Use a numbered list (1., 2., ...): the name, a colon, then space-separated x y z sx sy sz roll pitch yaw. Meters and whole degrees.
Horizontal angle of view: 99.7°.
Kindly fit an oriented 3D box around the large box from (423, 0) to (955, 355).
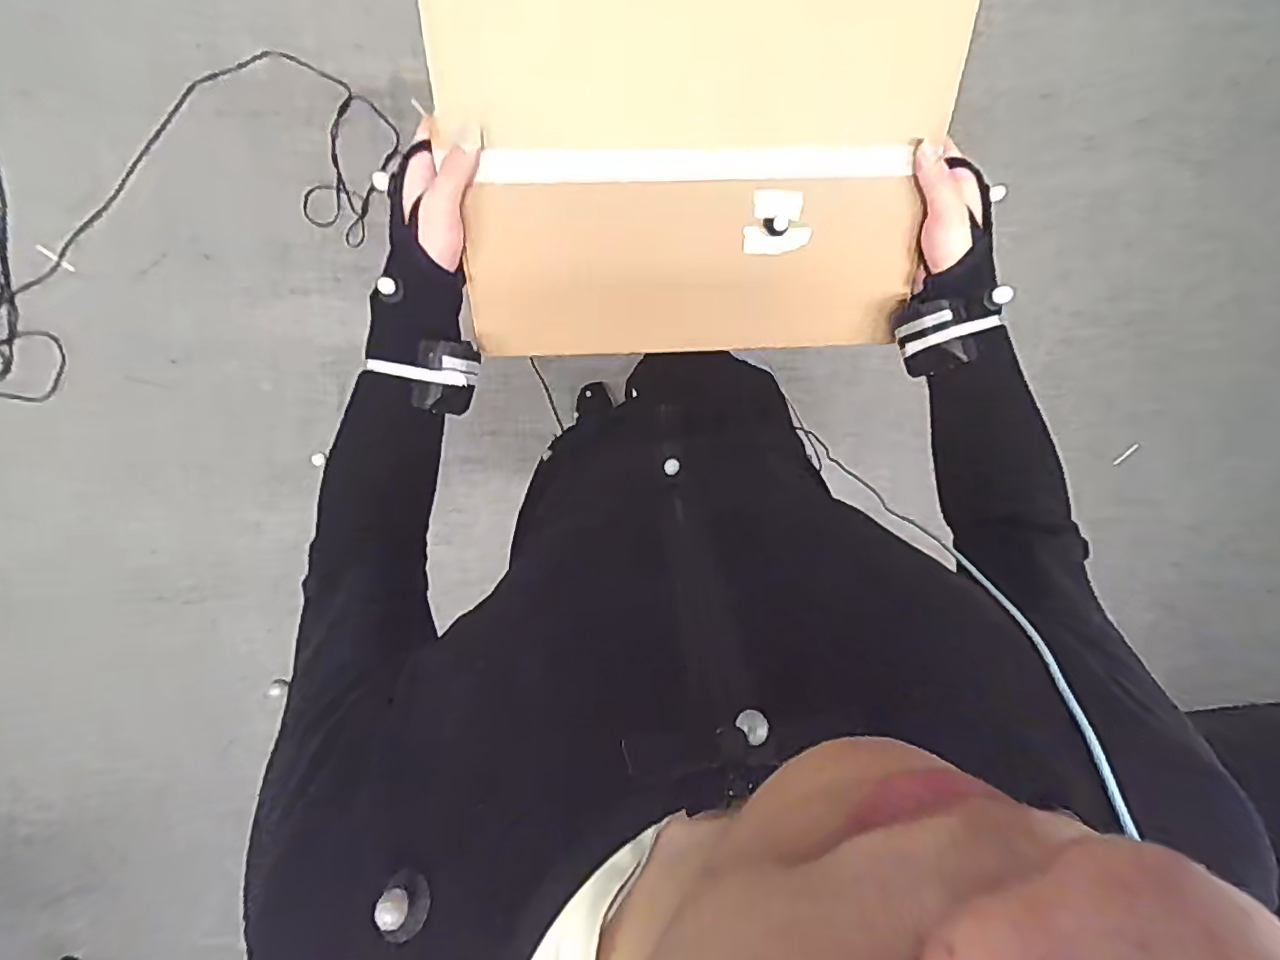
1. large box: 0.031 -0.340 0.579 0.408 0.320 0.320 -4 122 -4
